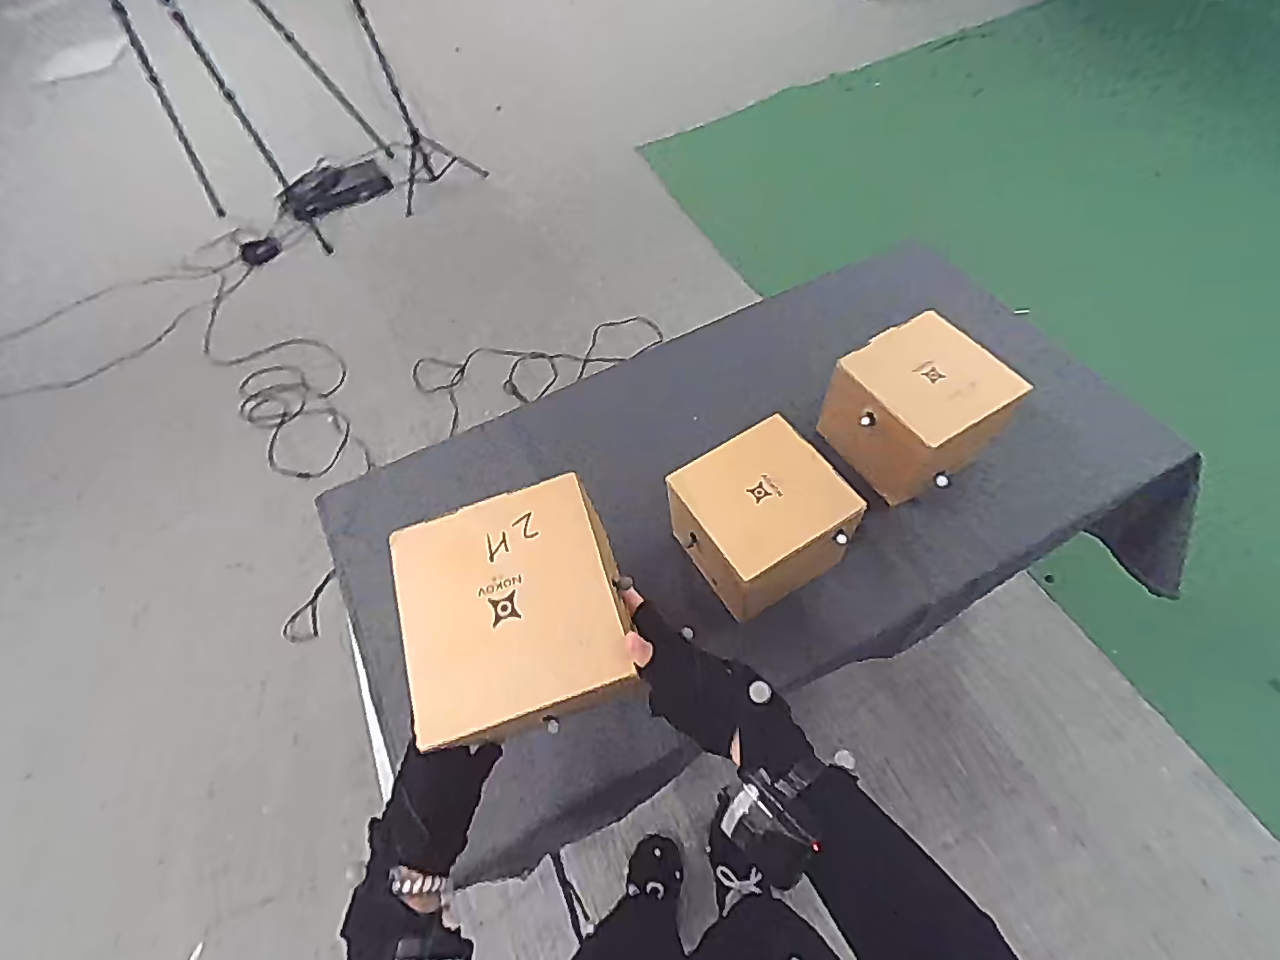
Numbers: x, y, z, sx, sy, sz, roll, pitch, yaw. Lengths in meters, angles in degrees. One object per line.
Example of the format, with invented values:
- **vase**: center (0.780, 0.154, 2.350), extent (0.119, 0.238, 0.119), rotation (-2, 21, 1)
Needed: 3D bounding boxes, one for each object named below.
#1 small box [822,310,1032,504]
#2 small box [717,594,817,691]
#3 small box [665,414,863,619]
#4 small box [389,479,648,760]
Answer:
- **small box**: center (0.383, -0.097, 0.765), extent (0.168, 0.176, 0.179), rotation (-29, 61, -9)
- **small box**: center (0.302, 0.394, 1.332), extent (0.179, 0.176, 0.168), rotation (-28, 61, -8)
- **small box**: center (0.152, 0.055, 0.705), extent (0.179, 0.176, 0.168), rotation (-30, 61, -11)
- **small box**: center (-0.097, 0.128, 0.489), extent (0.168, 0.176, 0.179), rotation (-19, 66, -2)
